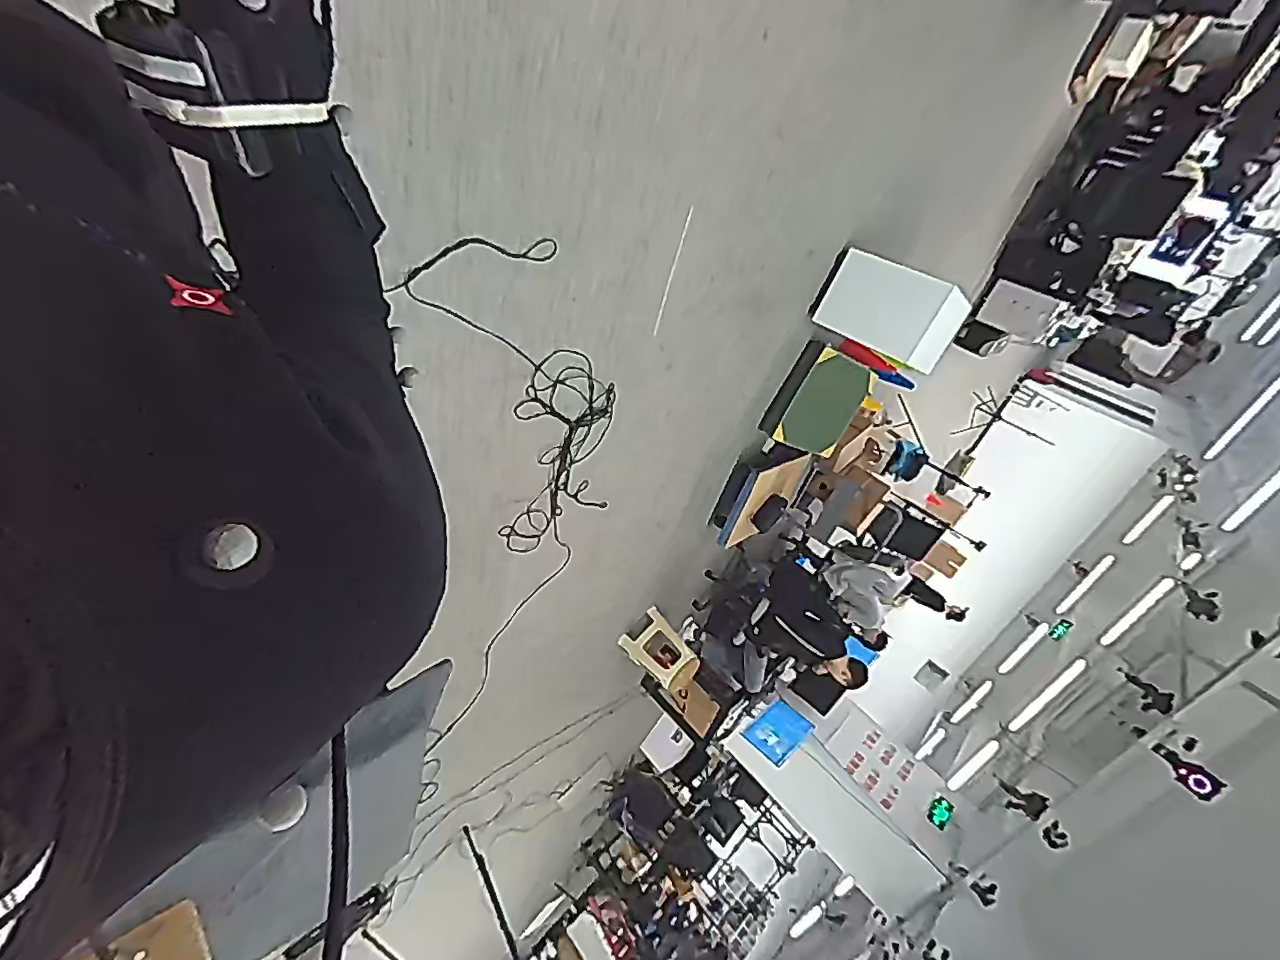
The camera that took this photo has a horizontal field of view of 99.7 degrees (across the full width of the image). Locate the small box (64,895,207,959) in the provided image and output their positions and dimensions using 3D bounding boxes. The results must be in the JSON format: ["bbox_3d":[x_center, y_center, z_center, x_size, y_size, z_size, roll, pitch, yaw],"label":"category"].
[{"bbox_3d":[-0.840,0.861,0.915,0.168,0.176,0.179,-17,135,-45],"label":"small box"}]
